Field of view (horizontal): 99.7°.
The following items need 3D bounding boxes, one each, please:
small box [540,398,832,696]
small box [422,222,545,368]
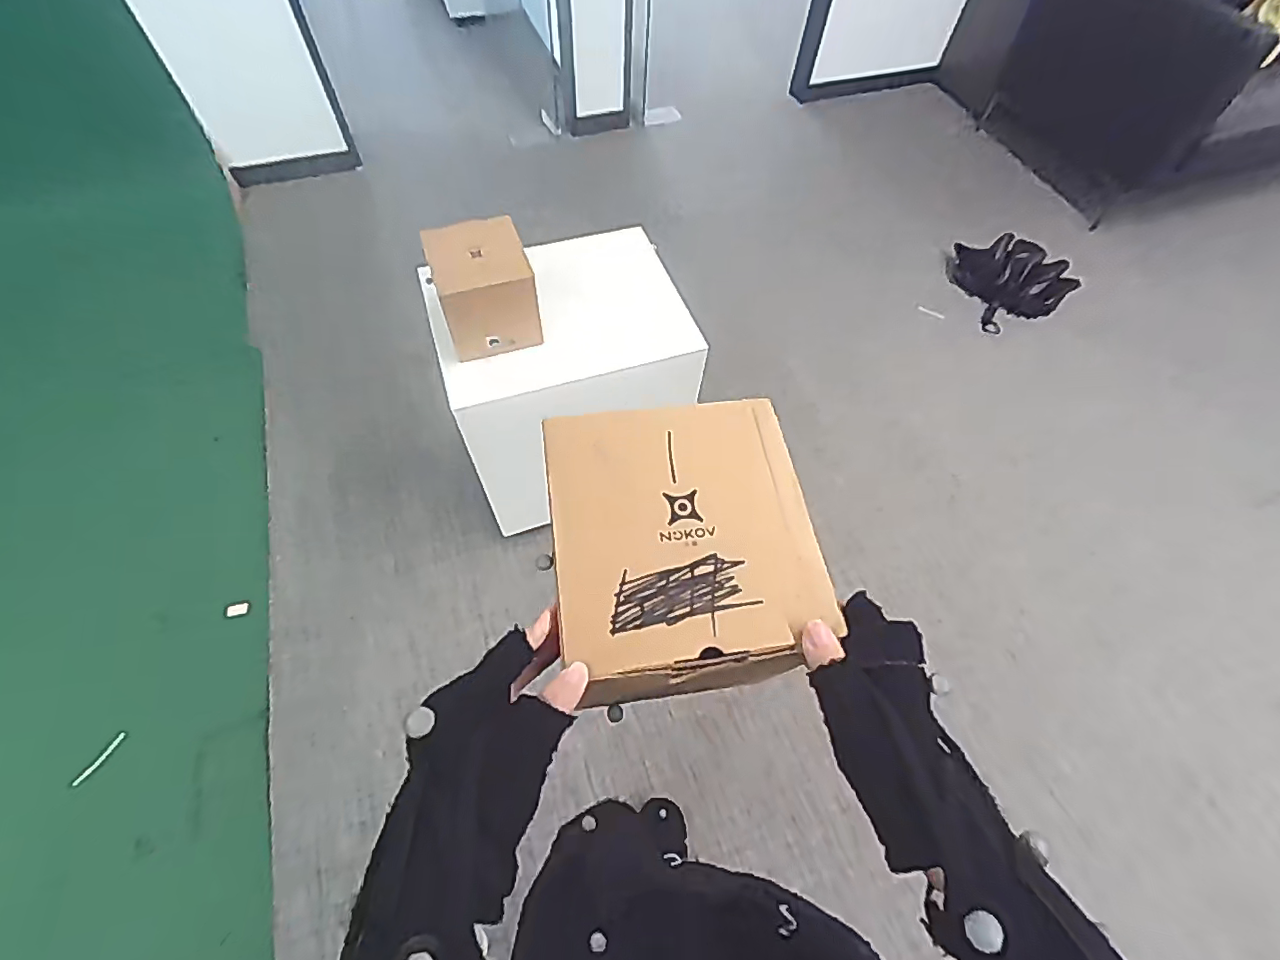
[{"bbox_3d":[0.019,0.062,0.418,0.168,0.176,0.179,-7,62,-7],"label":"small box"},{"bbox_3d":[-0.288,-0.343,1.012,0.168,0.176,0.179,-19,64,-12],"label":"small box"}]
